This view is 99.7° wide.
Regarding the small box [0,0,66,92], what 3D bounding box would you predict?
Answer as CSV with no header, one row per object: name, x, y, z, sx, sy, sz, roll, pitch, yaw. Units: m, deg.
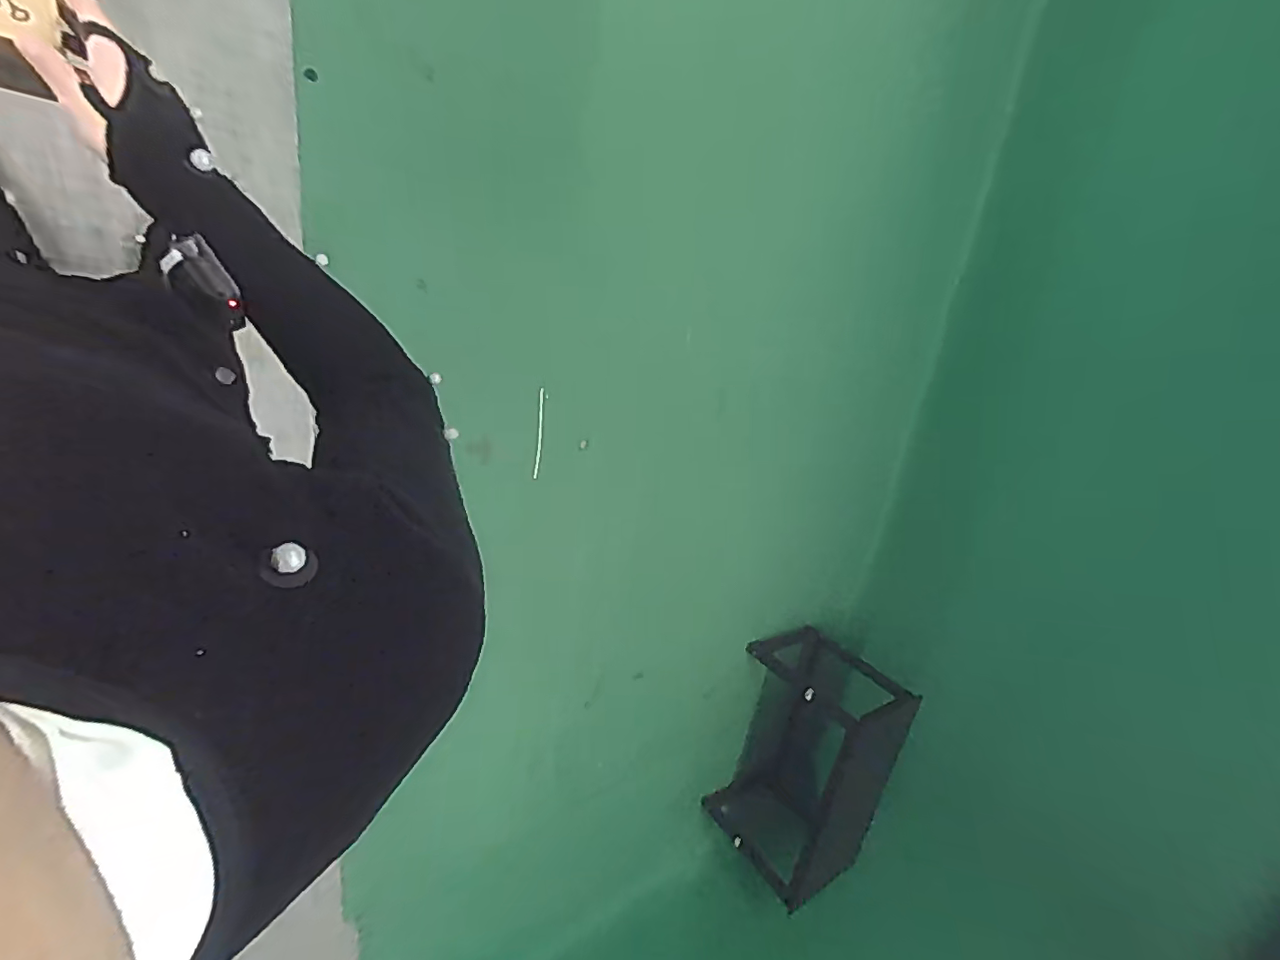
small box,-0.555,-0.432,0.399,0.168,0.176,0.179,-8,109,-44
